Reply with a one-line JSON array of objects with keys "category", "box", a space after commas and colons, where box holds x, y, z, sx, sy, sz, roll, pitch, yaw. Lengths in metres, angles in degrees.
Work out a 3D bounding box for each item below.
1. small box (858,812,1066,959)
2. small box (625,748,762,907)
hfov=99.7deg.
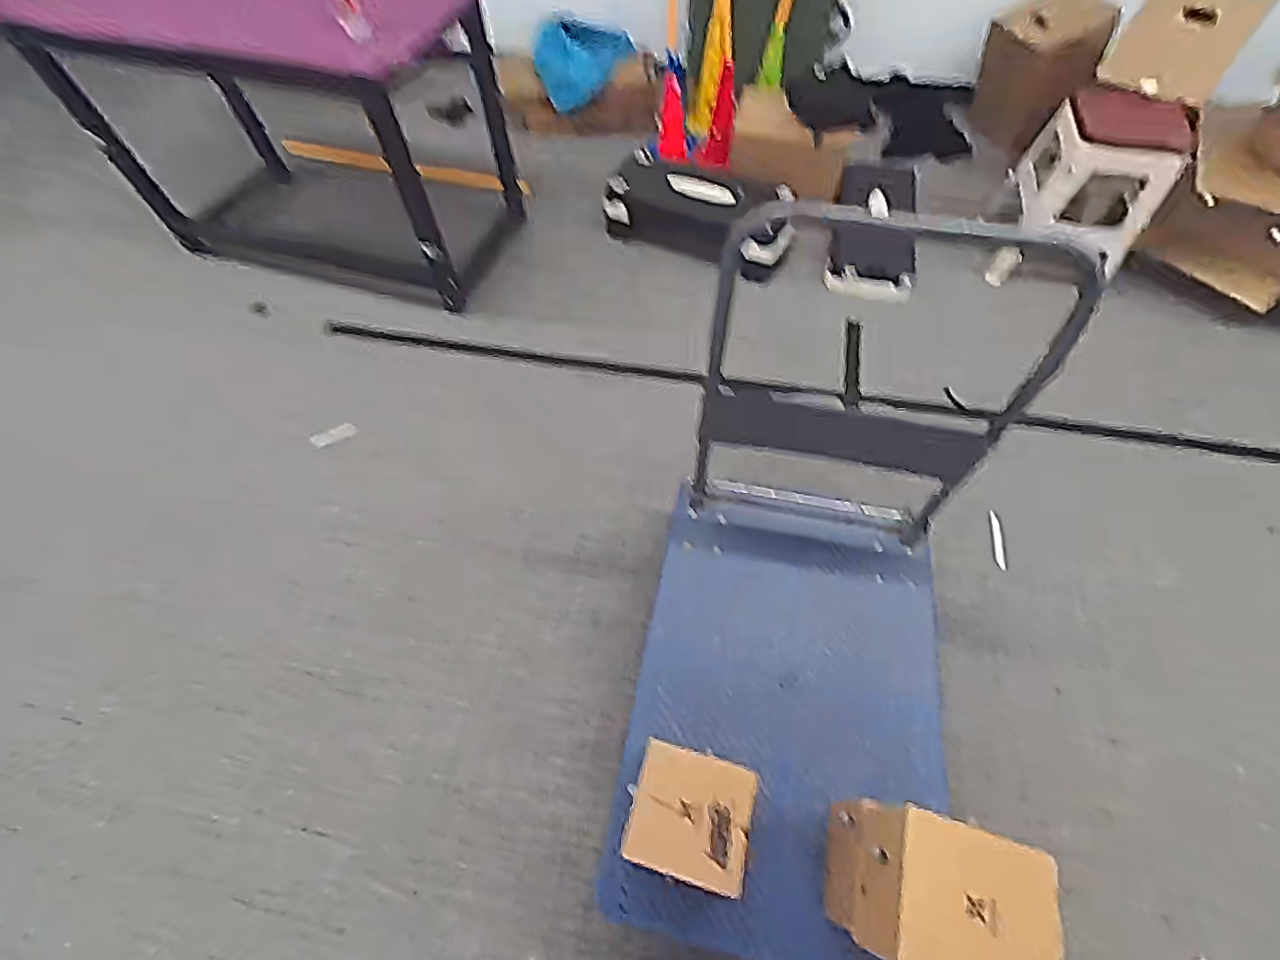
[{"category": "small box", "box": [0.395, 0.547, 0.688, 0.179, 0.176, 0.168, 16, 60, 9]}, {"category": "small box", "box": [0.086, 0.555, 0.880, 0.179, 0.176, 0.168, 13, 59, 10]}]
